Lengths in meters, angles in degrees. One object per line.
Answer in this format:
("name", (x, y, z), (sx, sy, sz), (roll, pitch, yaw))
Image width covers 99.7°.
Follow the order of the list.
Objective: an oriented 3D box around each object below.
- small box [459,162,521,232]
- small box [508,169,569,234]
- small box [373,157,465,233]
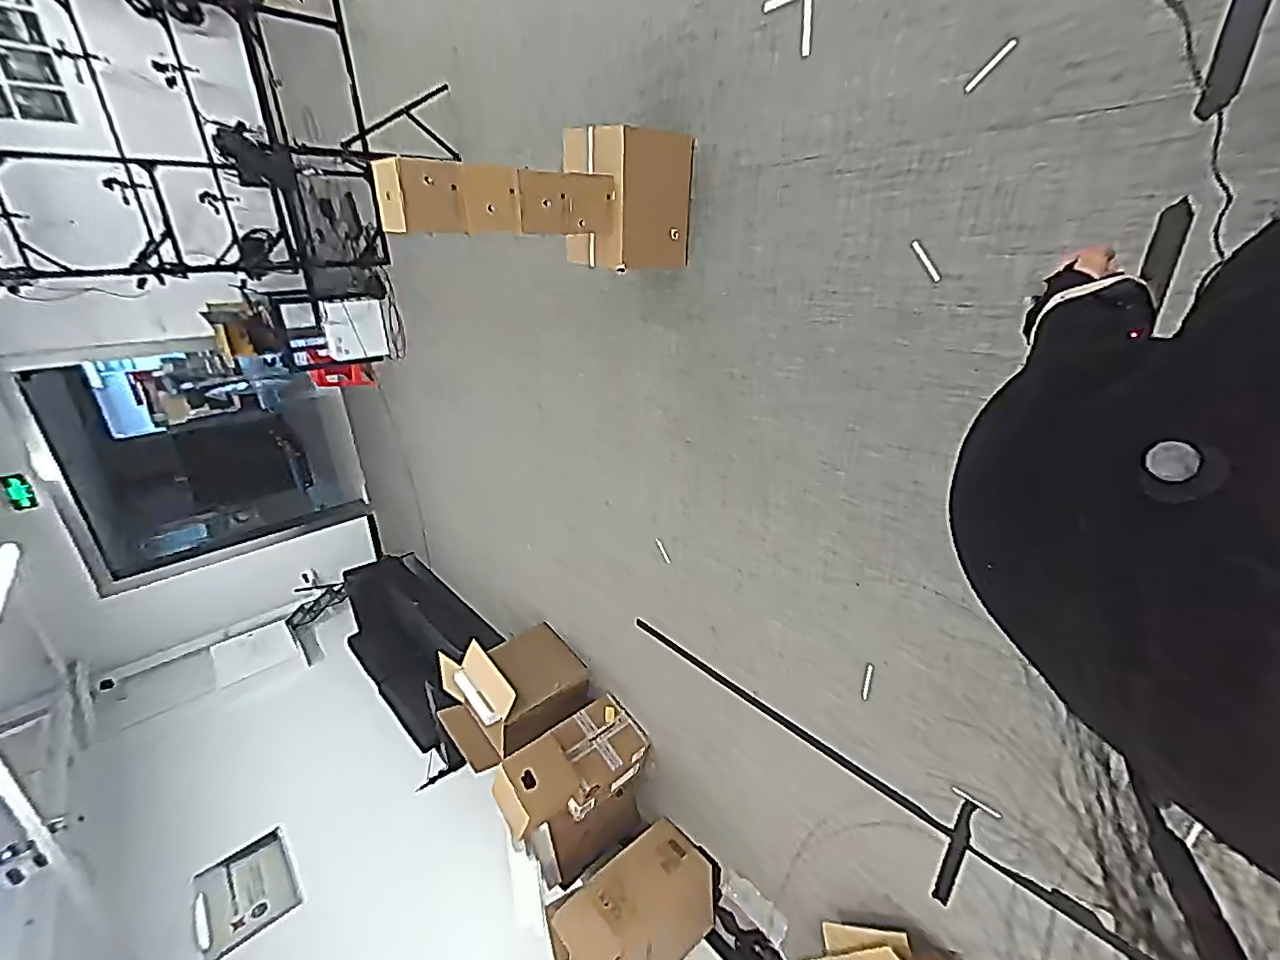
("small box", (-0.443, -0.784, 1.504), (0.179, 0.176, 0.168), (26, 126, 43))
("small box", (-0.324, -0.829, 1.606), (0.179, 0.176, 0.168), (28, 127, 40))
("small box", (-0.567, -0.739, 1.410), (0.179, 0.176, 0.168), (26, 125, 44))
